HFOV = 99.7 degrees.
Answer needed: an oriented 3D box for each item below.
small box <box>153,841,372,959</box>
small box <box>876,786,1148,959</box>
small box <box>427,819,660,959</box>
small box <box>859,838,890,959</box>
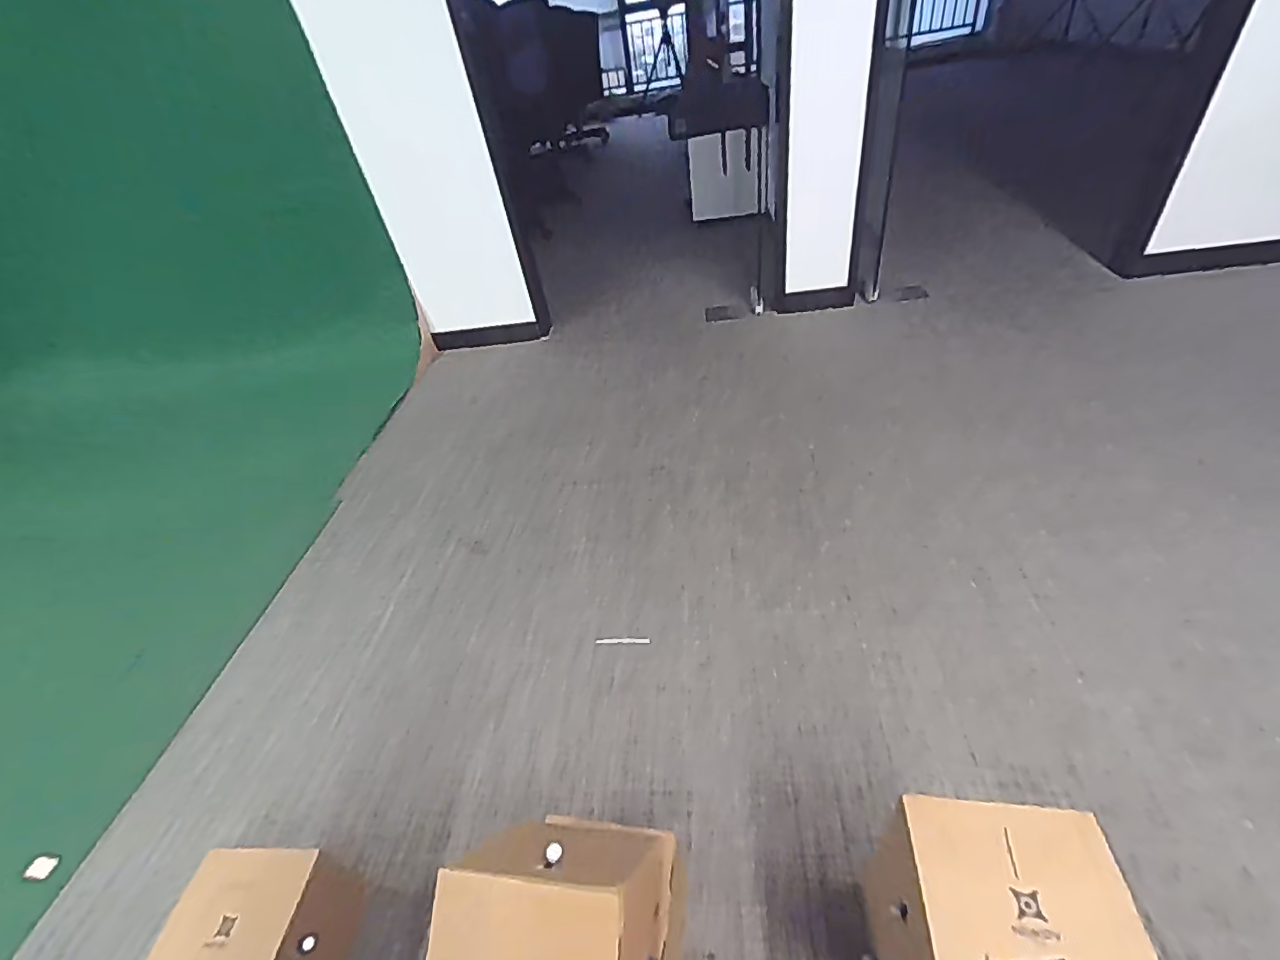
[{"bbox_3d":[-0.493,0.610,0.720,0.168,0.176,0.179,-4,40,7],"label":"small box"},{"bbox_3d":[0.327,0.416,0.501,0.168,0.176,0.179,-1,40,12],"label":"small box"},{"bbox_3d":[-0.085,0.447,0.523,0.179,0.176,0.168,-1,71,13],"label":"small box"},{"bbox_3d":[0.354,0.537,0.611,0.168,0.176,0.179,-1,42,11],"label":"small box"}]
